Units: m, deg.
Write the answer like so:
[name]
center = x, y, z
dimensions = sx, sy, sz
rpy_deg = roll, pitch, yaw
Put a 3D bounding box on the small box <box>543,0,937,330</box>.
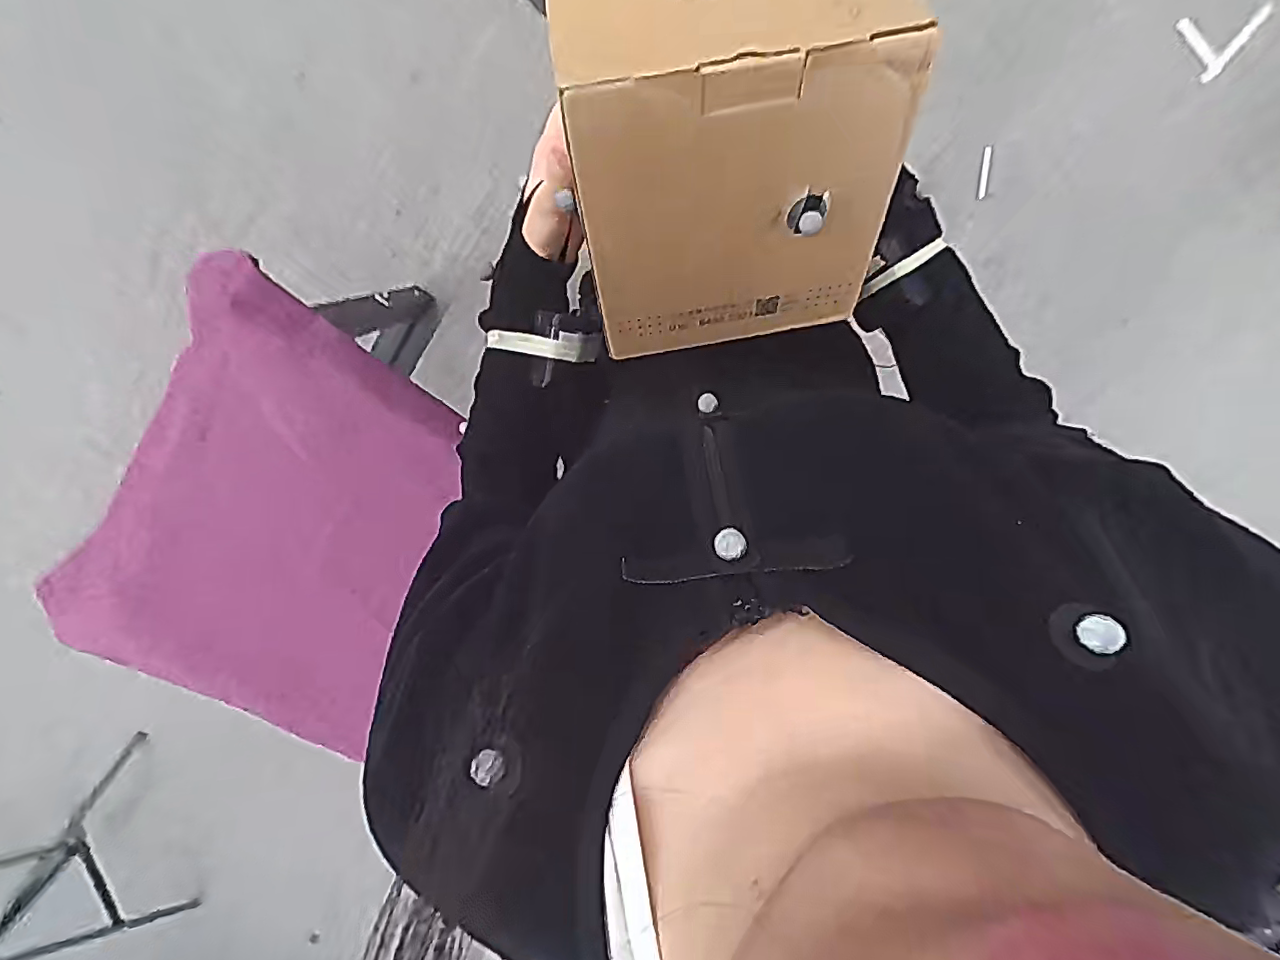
[small box]
center = 0.039, -0.211, 0.332
dimensions = 0.168, 0.179, 0.176
rpy_deg = -9, 151, 0
